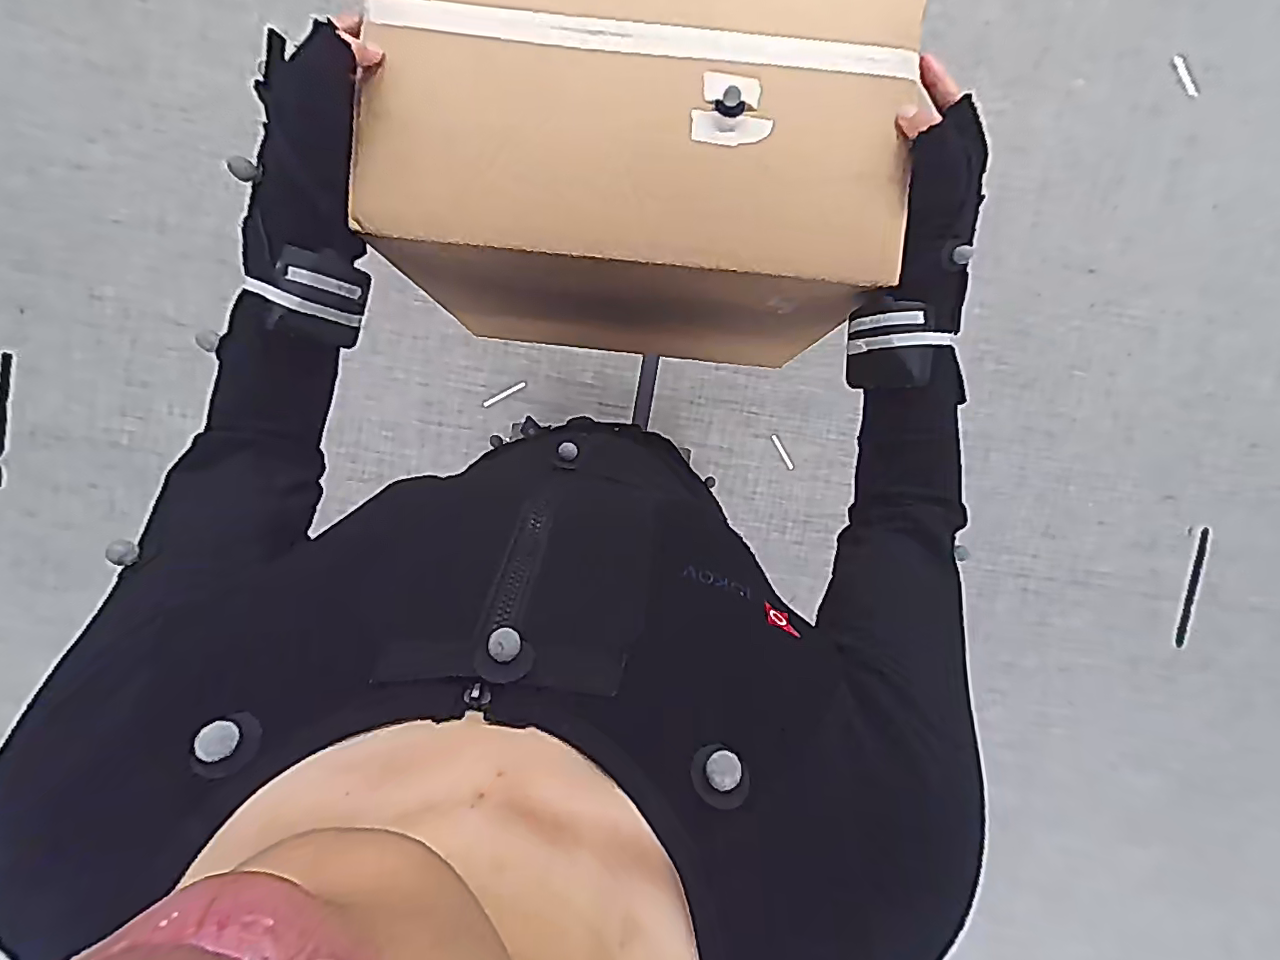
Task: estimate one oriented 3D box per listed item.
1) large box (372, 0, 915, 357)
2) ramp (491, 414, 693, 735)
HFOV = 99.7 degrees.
[{"bbox_3d":[0.001,-0.326,0.558,0.408,0.320,0.320,5,91,-1],"label":"large box"},{"bbox_3d":[-0.165,0.324,1.604,0.509,0.206,0.991,7,96,-3],"label":"ramp"}]
